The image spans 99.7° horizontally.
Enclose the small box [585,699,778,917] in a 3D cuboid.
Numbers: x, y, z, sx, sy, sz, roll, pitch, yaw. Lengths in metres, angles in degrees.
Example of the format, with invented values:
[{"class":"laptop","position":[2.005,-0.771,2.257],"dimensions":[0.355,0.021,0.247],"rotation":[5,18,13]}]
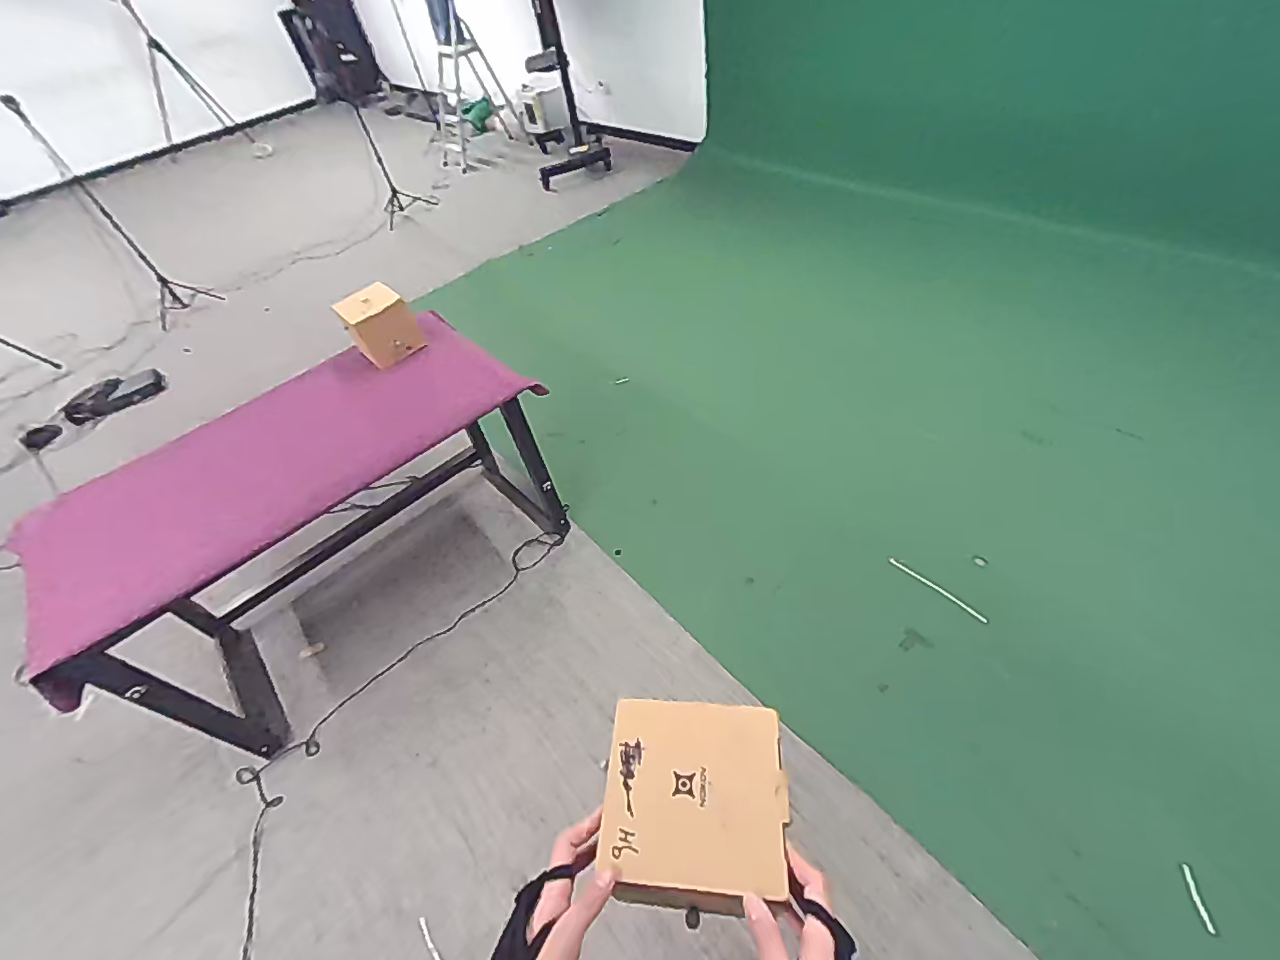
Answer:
[{"class":"small box","position":[0.052,0.362,0.596],"dimensions":[0.179,0.176,0.168],"rotation":[1,46,9]}]

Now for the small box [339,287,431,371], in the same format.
[{"class":"small box","position":[-0.791,-0.467,1.689],"dimensions":[0.168,0.176,0.179],"rotation":[-41,54,-18]}]
